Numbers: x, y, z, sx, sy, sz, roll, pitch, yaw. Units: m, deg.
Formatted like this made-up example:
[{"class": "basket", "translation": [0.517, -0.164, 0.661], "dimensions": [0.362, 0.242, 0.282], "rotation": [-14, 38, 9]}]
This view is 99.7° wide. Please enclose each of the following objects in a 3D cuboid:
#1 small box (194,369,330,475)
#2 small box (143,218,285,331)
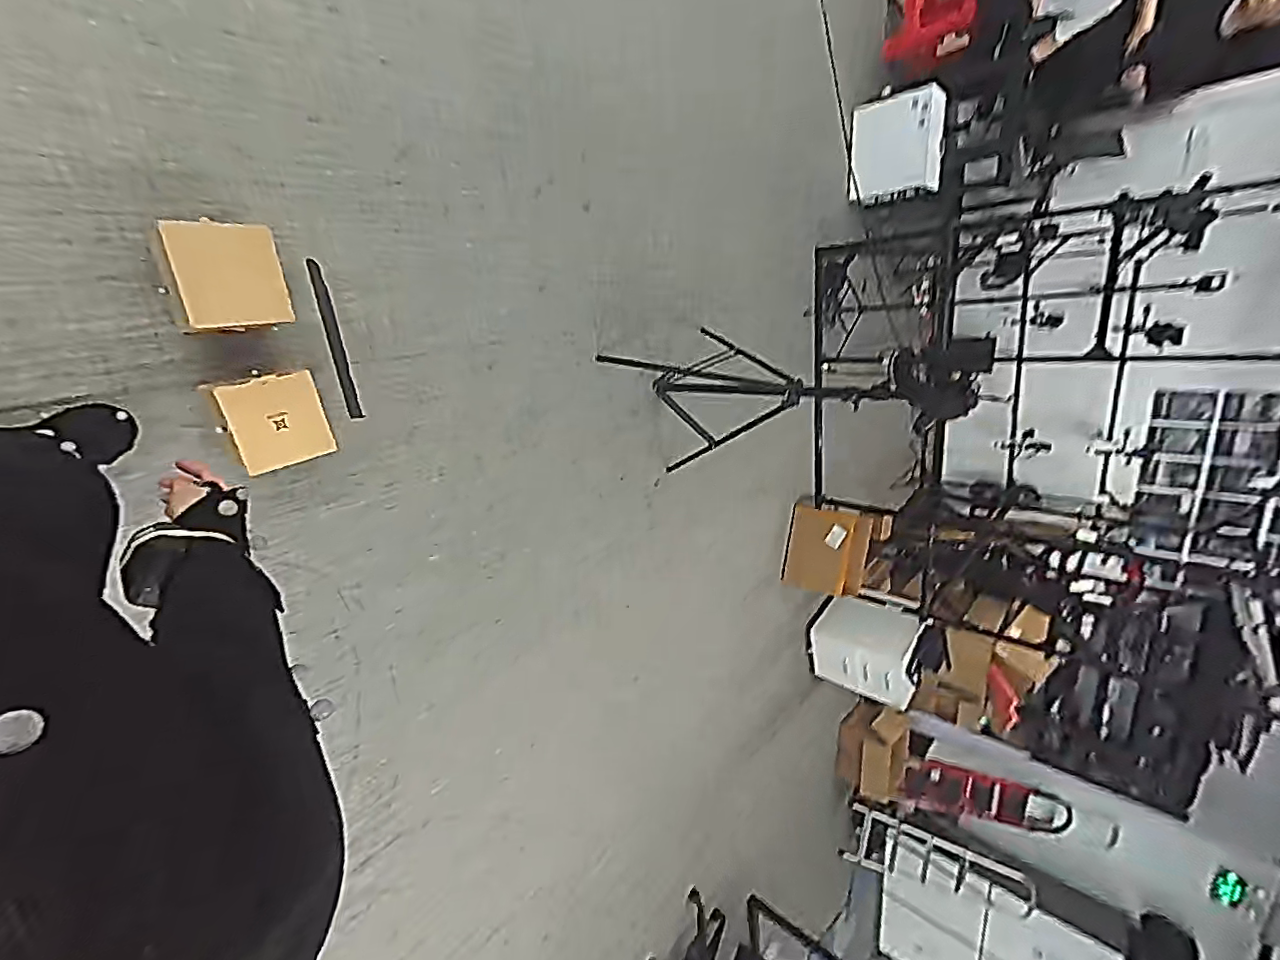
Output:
[{"class": "small box", "translation": [-0.776, -0.127, 1.111], "dimensions": [0.168, 0.176, 0.179], "rotation": [-28, 117, -41]}, {"class": "small box", "translation": [-0.800, -0.382, 1.023], "dimensions": [0.168, 0.176, 0.179], "rotation": [-22, 114, -43]}]
